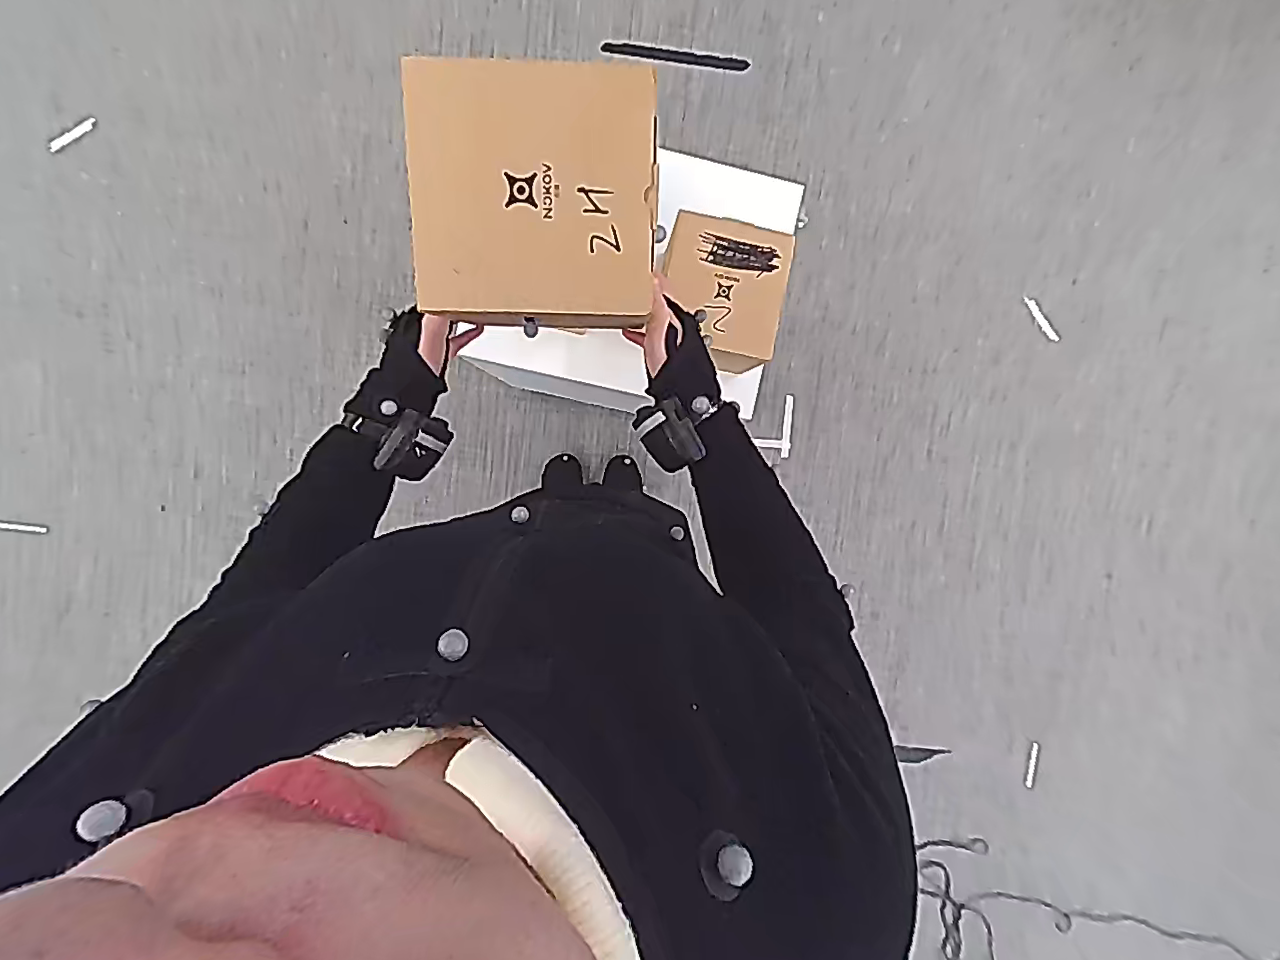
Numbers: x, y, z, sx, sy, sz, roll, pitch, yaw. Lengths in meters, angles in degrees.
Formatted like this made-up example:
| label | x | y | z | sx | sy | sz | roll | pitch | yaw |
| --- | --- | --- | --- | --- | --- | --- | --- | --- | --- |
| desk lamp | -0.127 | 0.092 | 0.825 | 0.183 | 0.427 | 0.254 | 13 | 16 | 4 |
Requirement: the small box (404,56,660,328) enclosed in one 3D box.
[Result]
| label | x | y | z | sx | sy | sz | roll | pitch | yaw |
| --- | --- | --- | --- | --- | --- | --- | --- | --- | --- |
| small box | -0.077 | -0.220 | 0.460 | 0.179 | 0.176 | 0.168 | 1 | 103 | -2 |
